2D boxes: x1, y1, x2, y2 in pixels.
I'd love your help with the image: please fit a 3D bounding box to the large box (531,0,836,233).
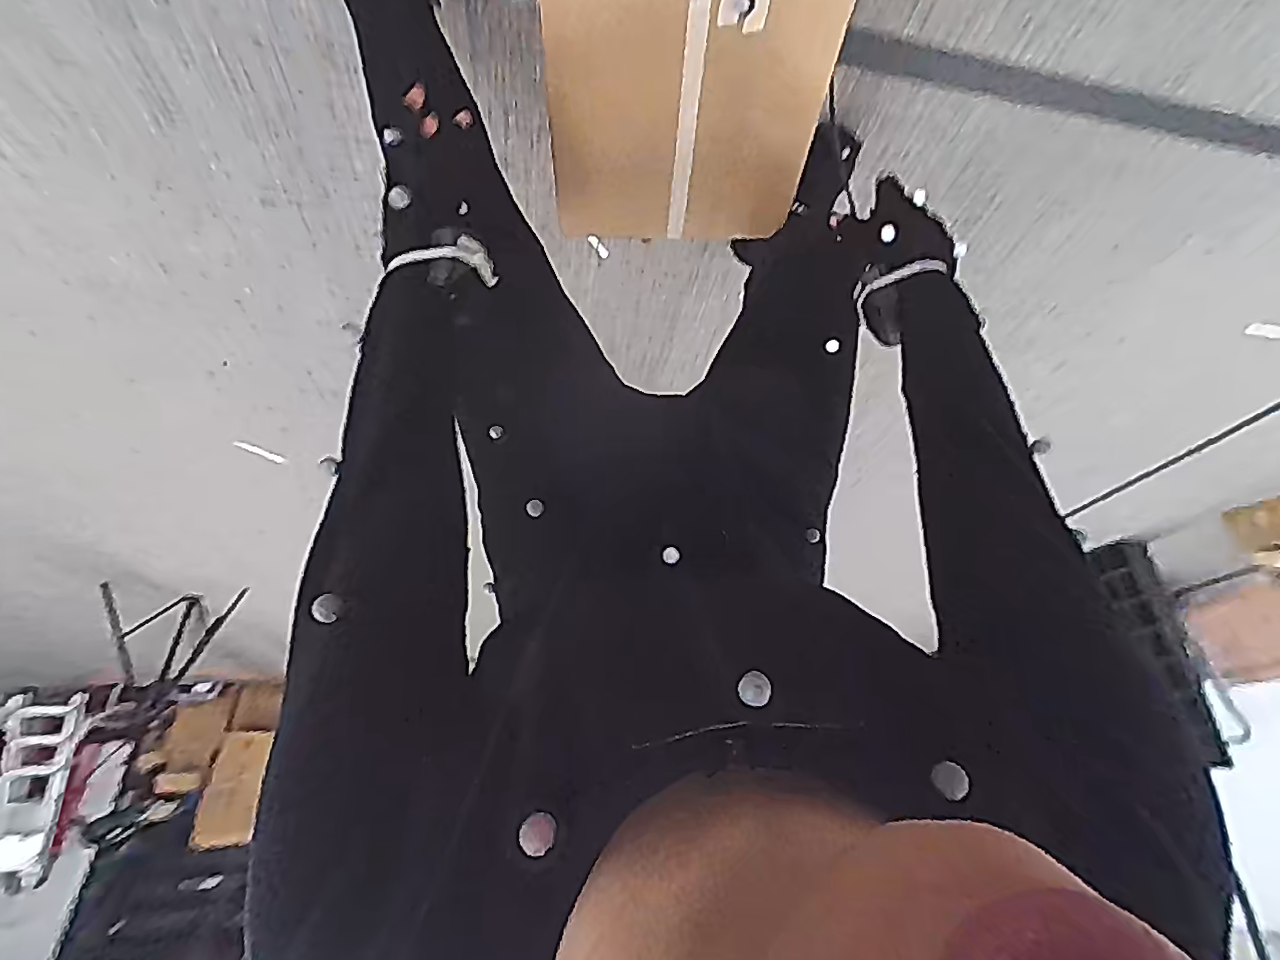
[{"bbox_3d":[0.040,-0.579,0.665,0.320,0.320,0.408,0,149,-4],"label":"large box"}]
